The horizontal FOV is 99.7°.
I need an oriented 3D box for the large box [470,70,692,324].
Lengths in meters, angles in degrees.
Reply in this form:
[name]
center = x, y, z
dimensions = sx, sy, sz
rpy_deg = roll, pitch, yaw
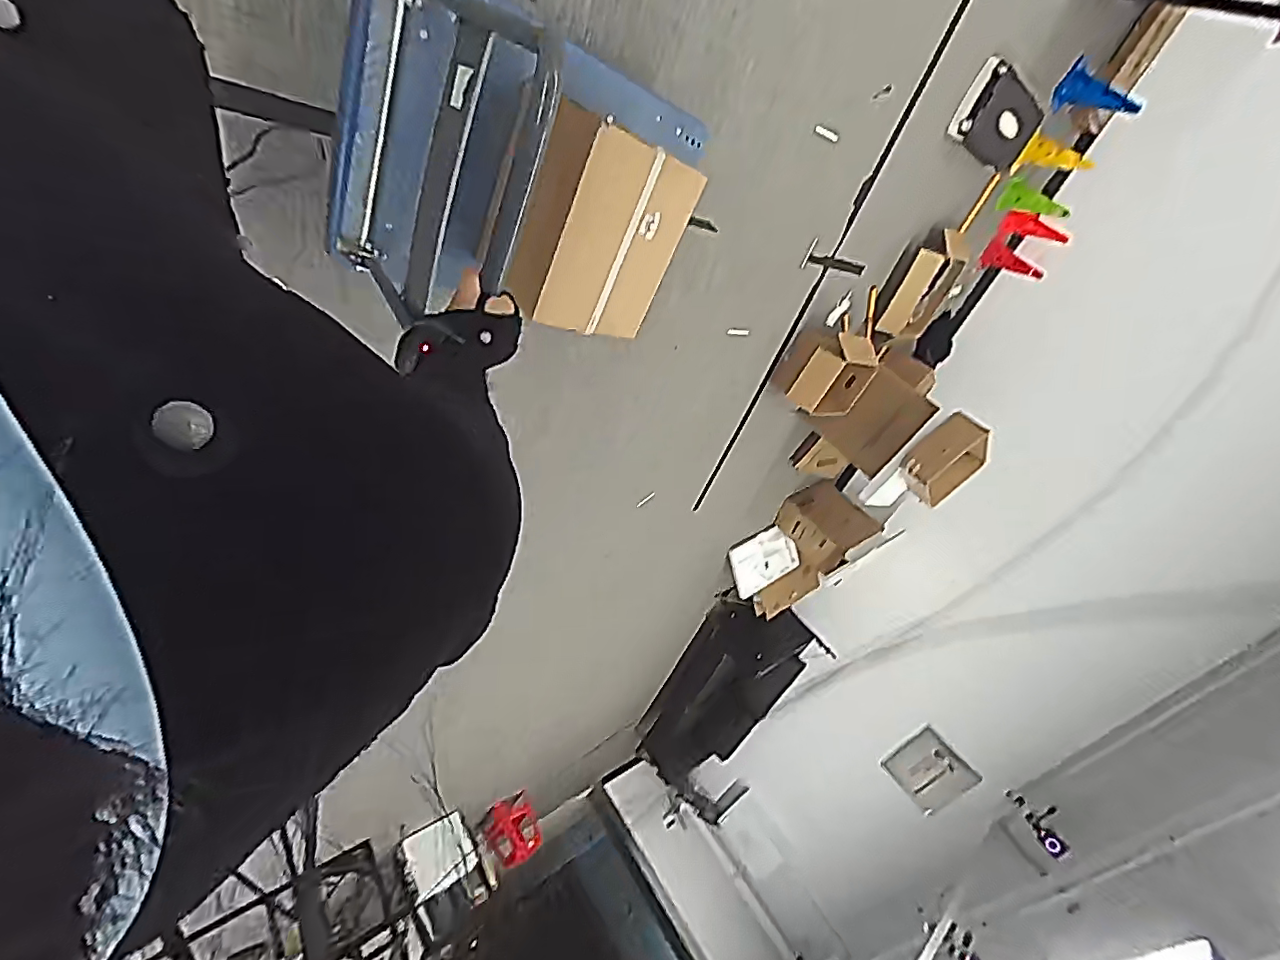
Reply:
[large box]
center = -0.155, -0.632, 1.259
dimensions = 0.320, 0.320, 0.408
rpy_deg = -6, 133, -45
